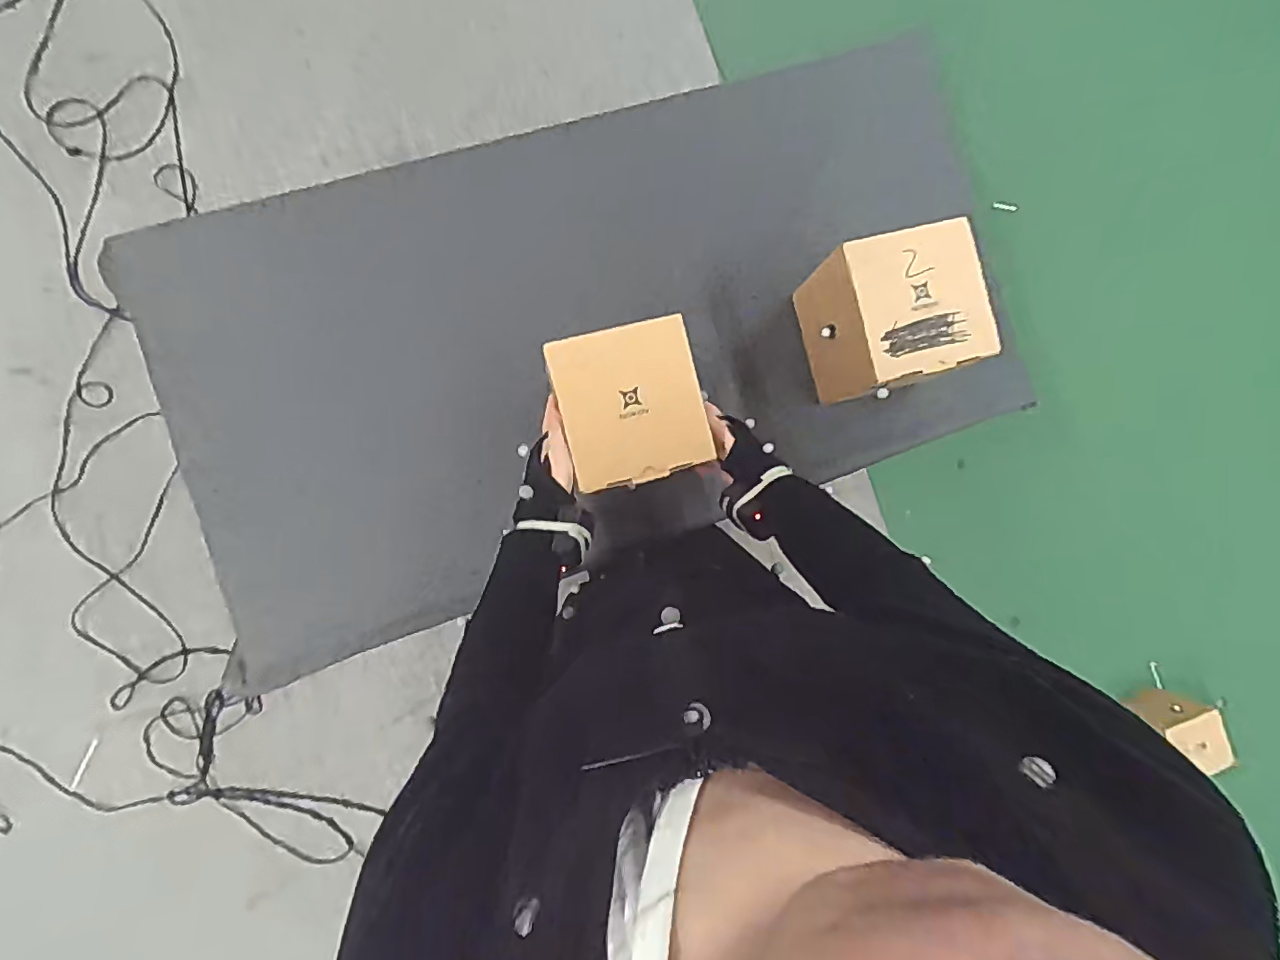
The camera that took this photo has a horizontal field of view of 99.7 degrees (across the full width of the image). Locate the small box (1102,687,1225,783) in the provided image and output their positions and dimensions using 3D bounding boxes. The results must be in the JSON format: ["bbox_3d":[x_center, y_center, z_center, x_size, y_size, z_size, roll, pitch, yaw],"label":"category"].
[{"bbox_3d":[1.505,0.727,1.563,0.179,0.176,0.168,-19,90,-7],"label":"small box"}]
